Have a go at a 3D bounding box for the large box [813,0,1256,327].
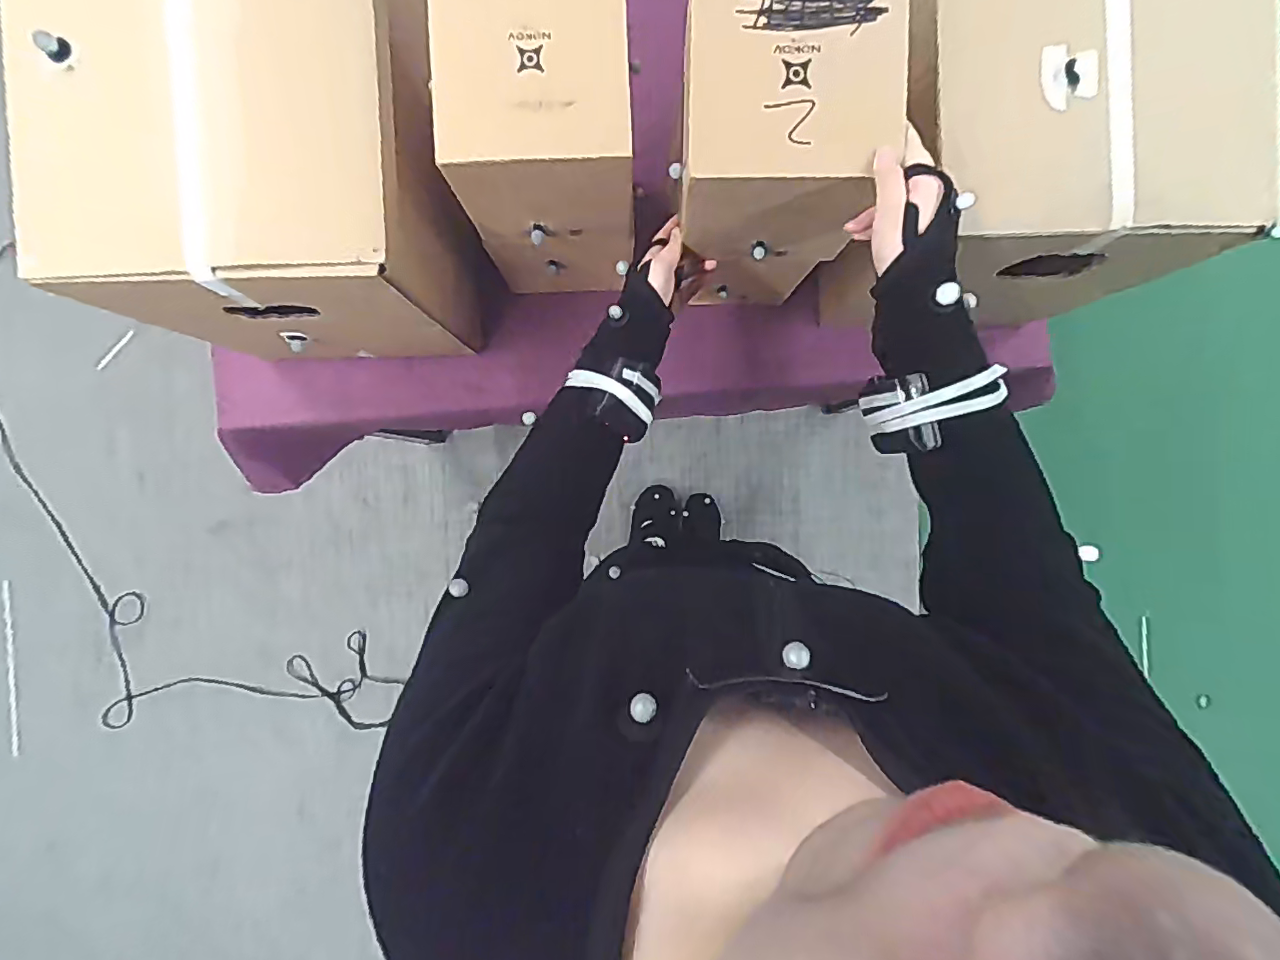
[{"bbox_3d":[0.416,-0.422,0.647,0.320,0.320,0.408,-1,91,-2],"label":"large box"}]
